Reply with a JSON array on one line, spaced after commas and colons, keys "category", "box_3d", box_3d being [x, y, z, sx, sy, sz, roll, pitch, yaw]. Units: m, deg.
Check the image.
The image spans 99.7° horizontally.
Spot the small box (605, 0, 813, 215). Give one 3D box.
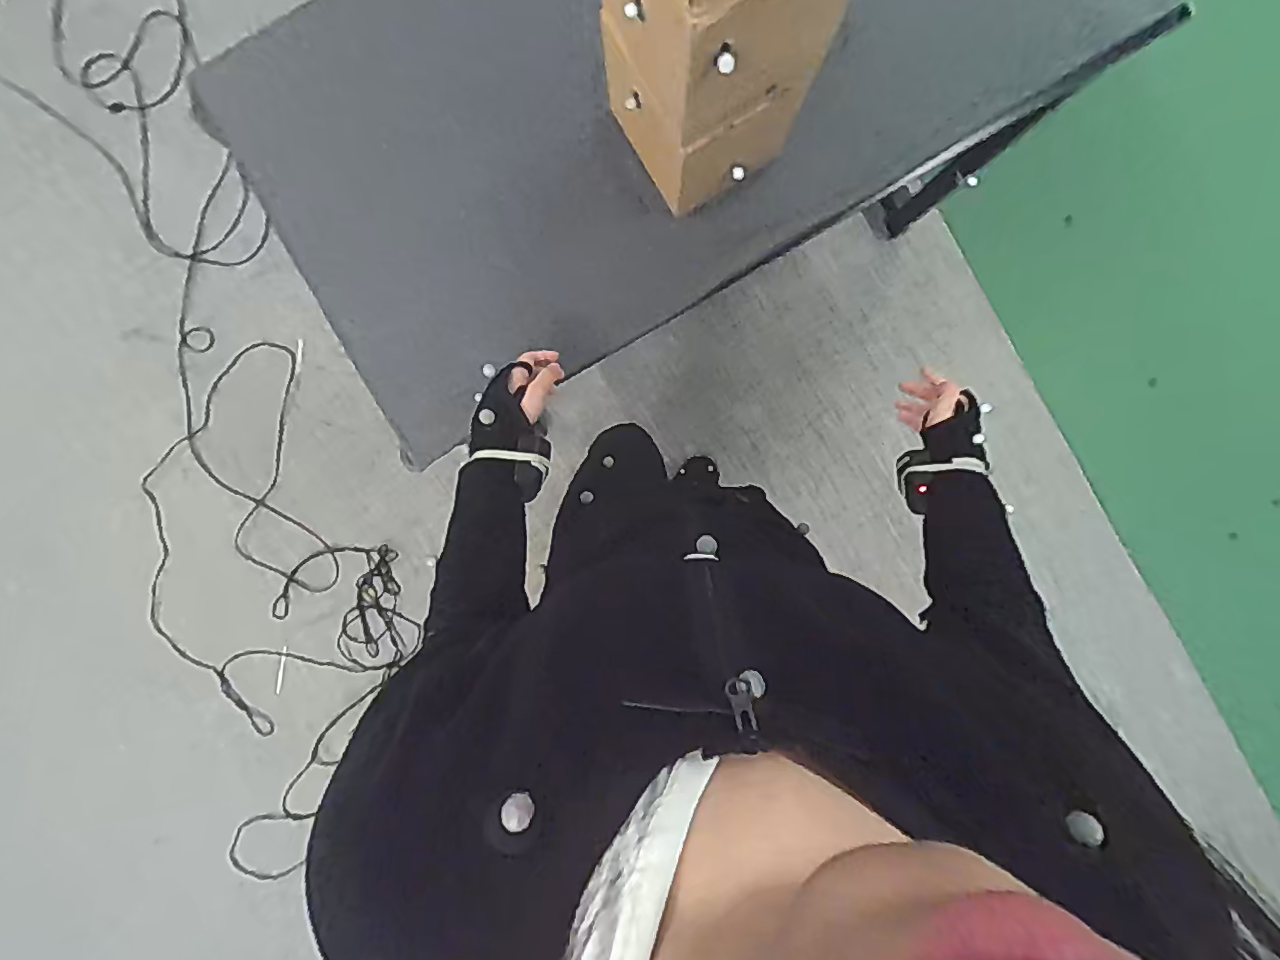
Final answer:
[{"category": "small box", "box_3d": [0.074, -0.466, 0.656, 0.168, 0.176, 0.179, -31, 93, 3]}]
